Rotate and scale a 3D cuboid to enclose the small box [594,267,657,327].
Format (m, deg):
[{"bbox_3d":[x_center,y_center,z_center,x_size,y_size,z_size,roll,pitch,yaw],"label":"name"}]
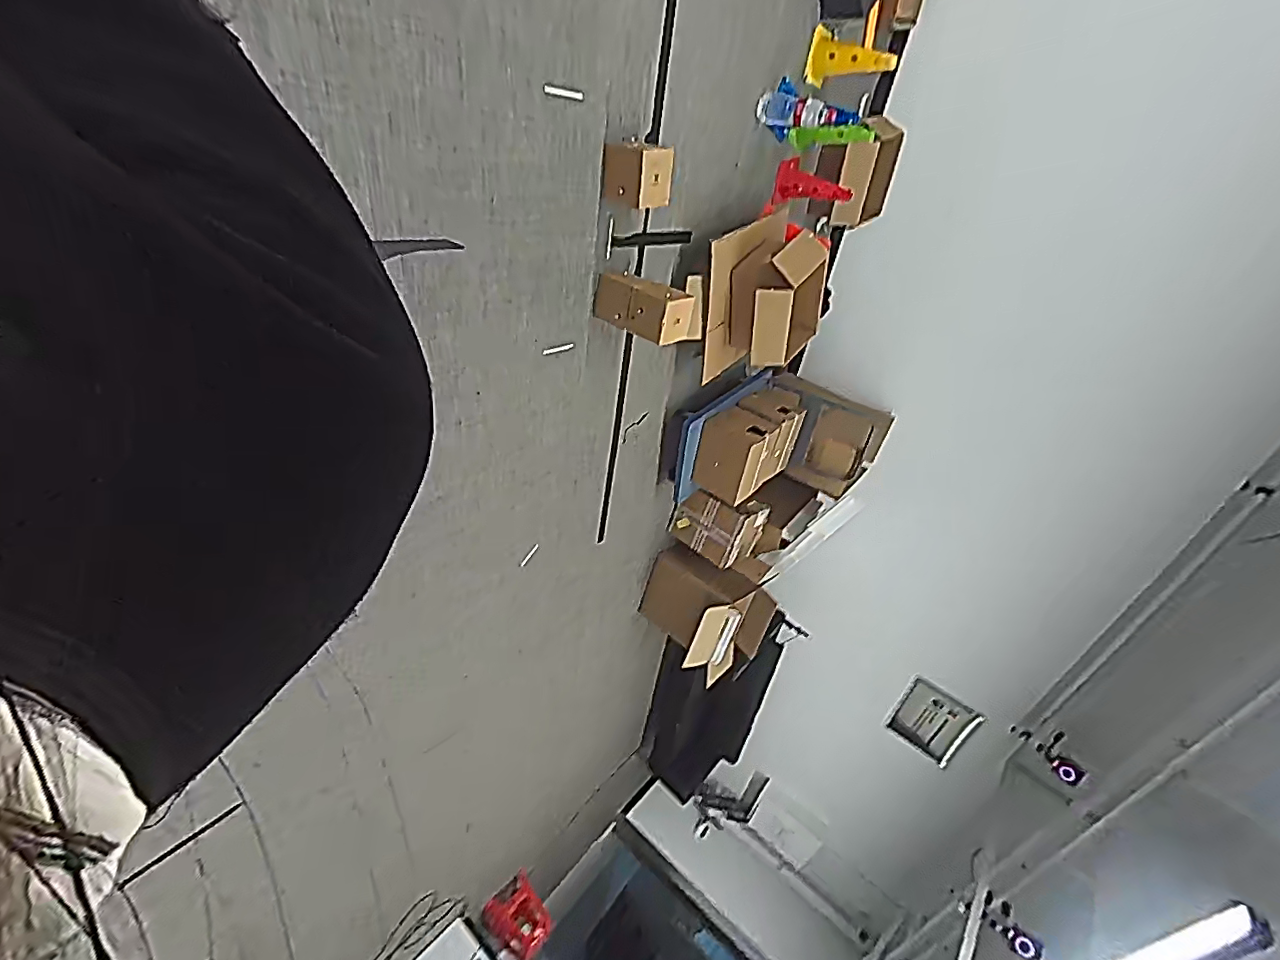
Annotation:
[{"bbox_3d":[-0.059,-0.711,2.097,0.168,0.176,0.179,-26,139,-47],"label":"small box"}]

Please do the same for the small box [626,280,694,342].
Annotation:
[{"bbox_3d":[0.073,-0.640,2.031,0.179,0.176,0.168,-29,141,-43],"label":"small box"}]

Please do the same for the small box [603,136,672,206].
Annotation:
[{"bbox_3d":[-0.013,-1.053,1.836,0.168,0.176,0.179,-35,143,-39],"label":"small box"}]
